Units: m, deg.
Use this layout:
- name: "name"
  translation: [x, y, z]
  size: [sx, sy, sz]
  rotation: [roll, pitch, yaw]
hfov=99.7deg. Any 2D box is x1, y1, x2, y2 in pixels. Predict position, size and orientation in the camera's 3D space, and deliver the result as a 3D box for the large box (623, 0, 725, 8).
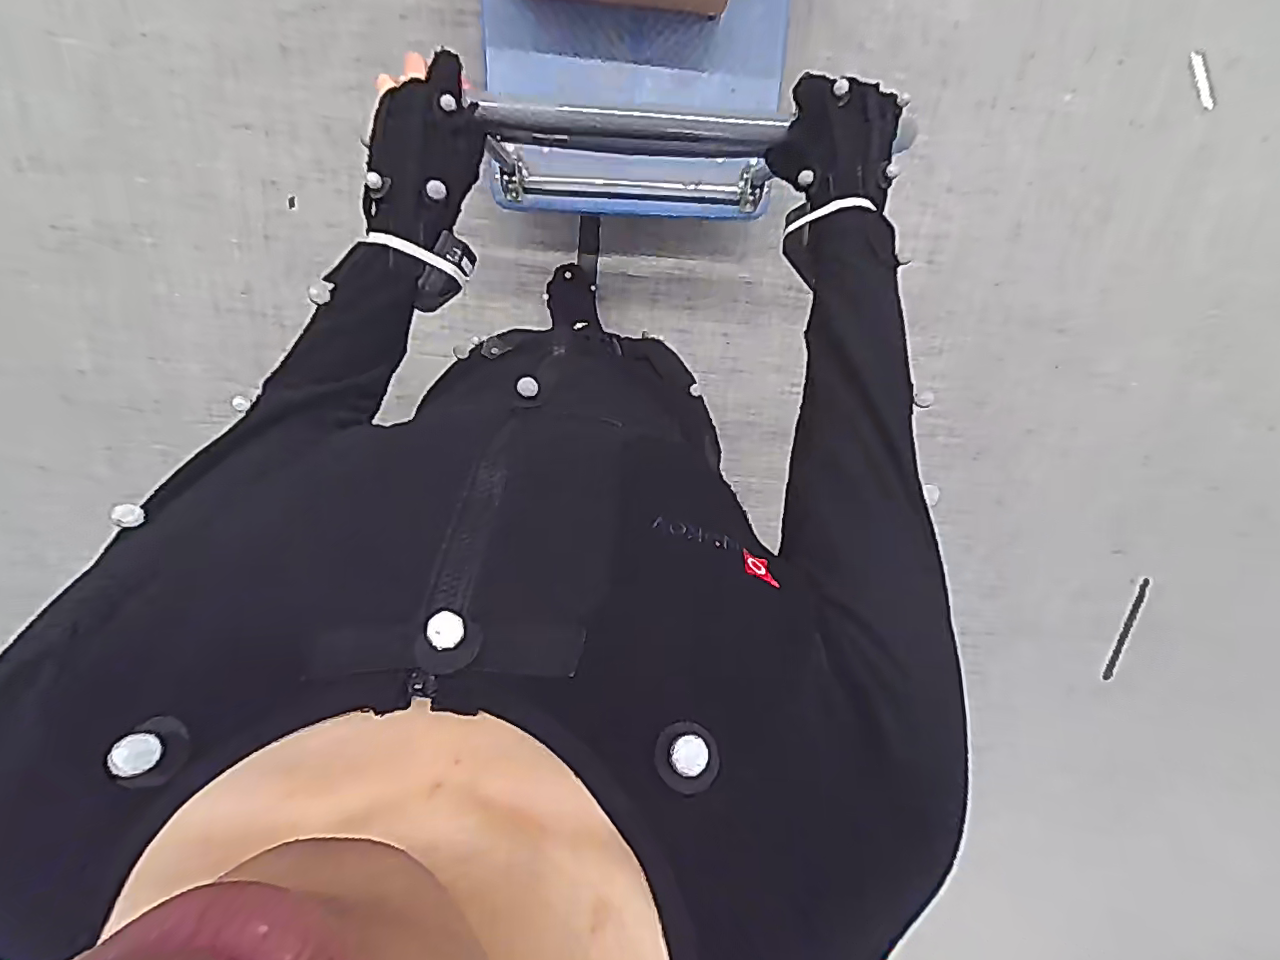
- name: "large box"
  translation: [-0.026, -0.990, 0.825]
  size: [0.408, 0.320, 0.320]
  rotation: [3, 109, -4]
